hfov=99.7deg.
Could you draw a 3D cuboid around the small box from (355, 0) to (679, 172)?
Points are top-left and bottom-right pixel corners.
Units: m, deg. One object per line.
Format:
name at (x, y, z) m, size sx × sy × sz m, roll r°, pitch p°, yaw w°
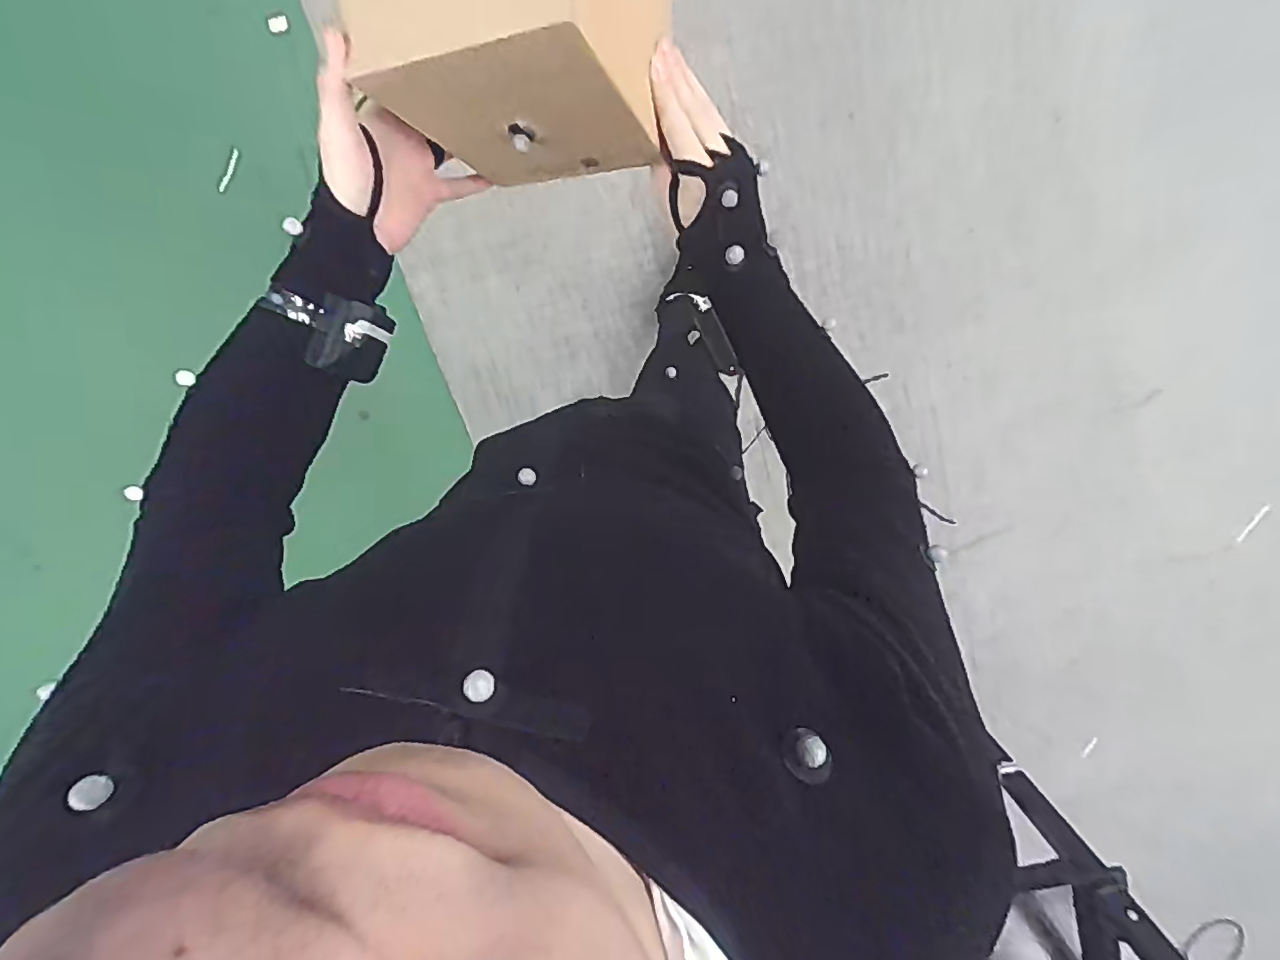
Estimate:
small box at (-0.073, -0.346, 0.386) m, size 0.168 × 0.176 × 0.179 m, roll 4°, pitch 95°, yaw 20°
